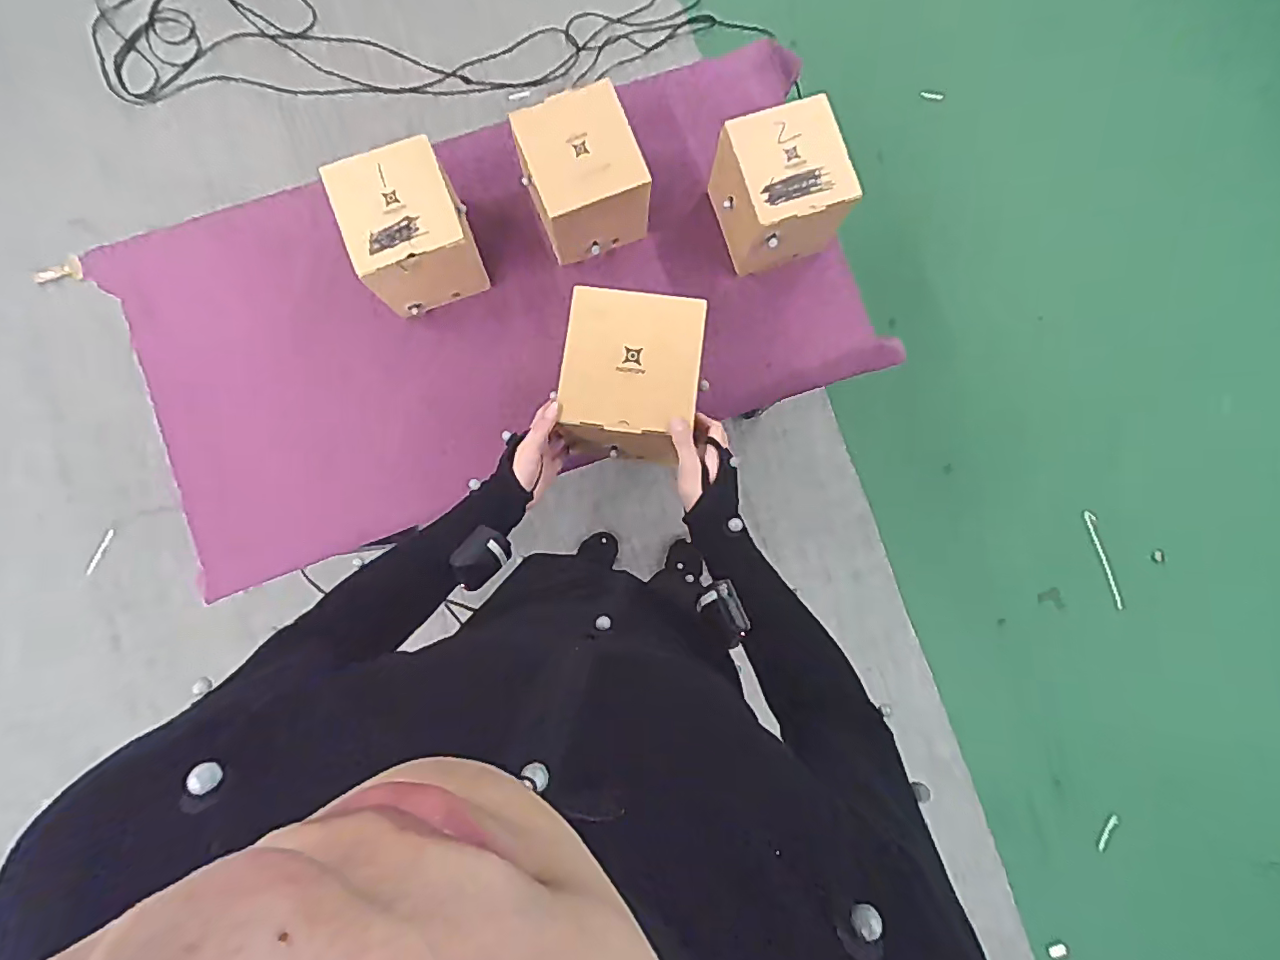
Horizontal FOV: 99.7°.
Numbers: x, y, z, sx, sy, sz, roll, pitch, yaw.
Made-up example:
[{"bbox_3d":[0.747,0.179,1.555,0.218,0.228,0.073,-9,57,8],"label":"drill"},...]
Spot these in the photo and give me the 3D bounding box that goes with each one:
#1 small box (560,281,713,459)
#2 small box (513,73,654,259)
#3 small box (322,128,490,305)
[{"bbox_3d":[-0.004,-0.136,0.722,0.168,0.176,0.179,7,82,1],"label":"small box"},{"bbox_3d":[-0.088,-0.495,0.876,0.168,0.176,0.179,-21,88,-3],"label":"small box"},{"bbox_3d":[-0.356,-0.399,0.856,0.168,0.176,0.179,-21,87,-4],"label":"small box"}]
